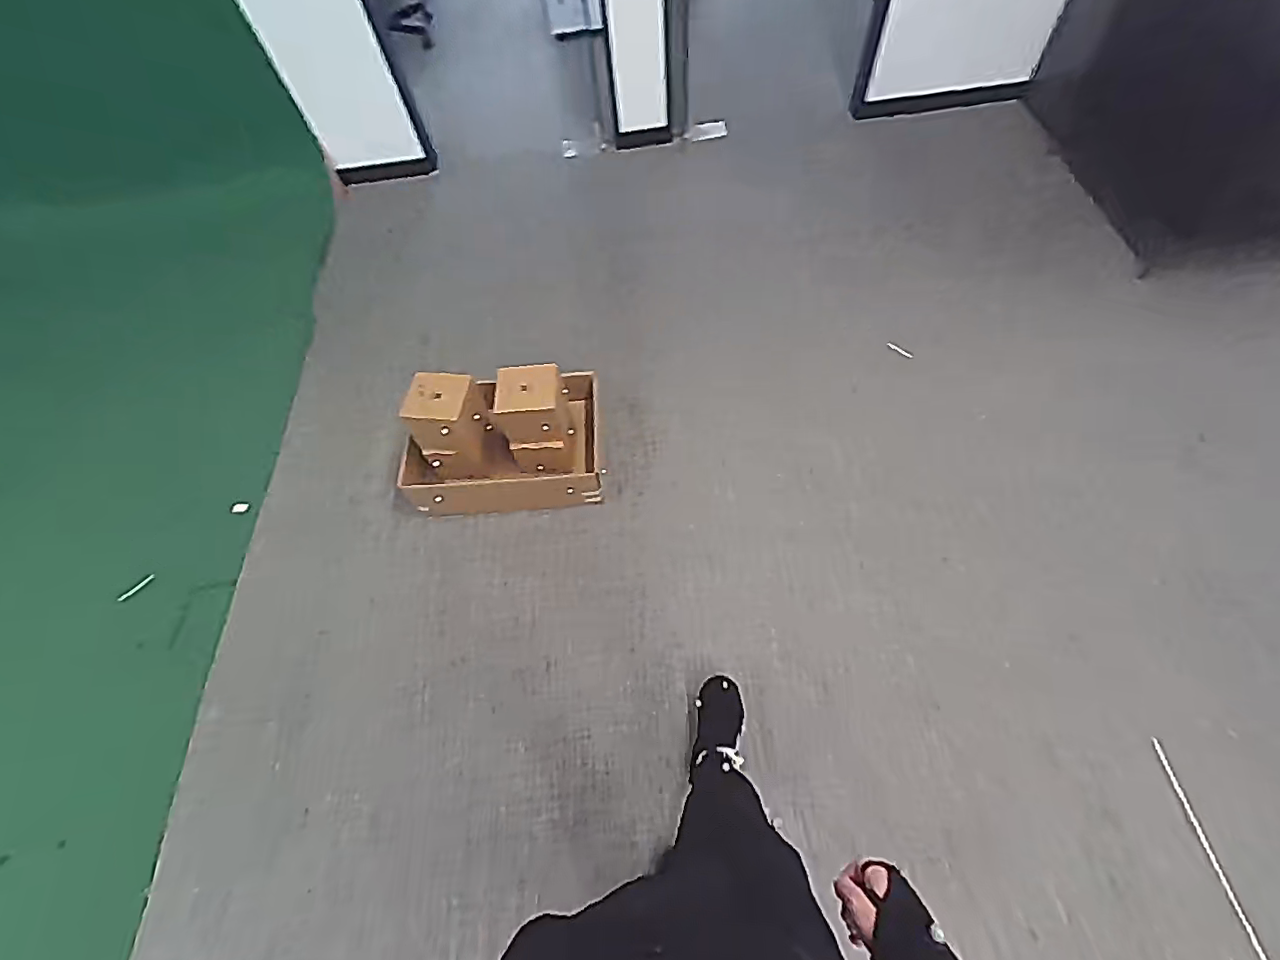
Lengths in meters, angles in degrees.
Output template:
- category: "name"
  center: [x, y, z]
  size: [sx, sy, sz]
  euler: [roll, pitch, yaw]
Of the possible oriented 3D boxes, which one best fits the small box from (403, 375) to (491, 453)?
- category: "small box"
  center: [-0.567, -0.193, 1.619]
  size: [0.179, 0.176, 0.168]
  euler: [5, 60, 6]
